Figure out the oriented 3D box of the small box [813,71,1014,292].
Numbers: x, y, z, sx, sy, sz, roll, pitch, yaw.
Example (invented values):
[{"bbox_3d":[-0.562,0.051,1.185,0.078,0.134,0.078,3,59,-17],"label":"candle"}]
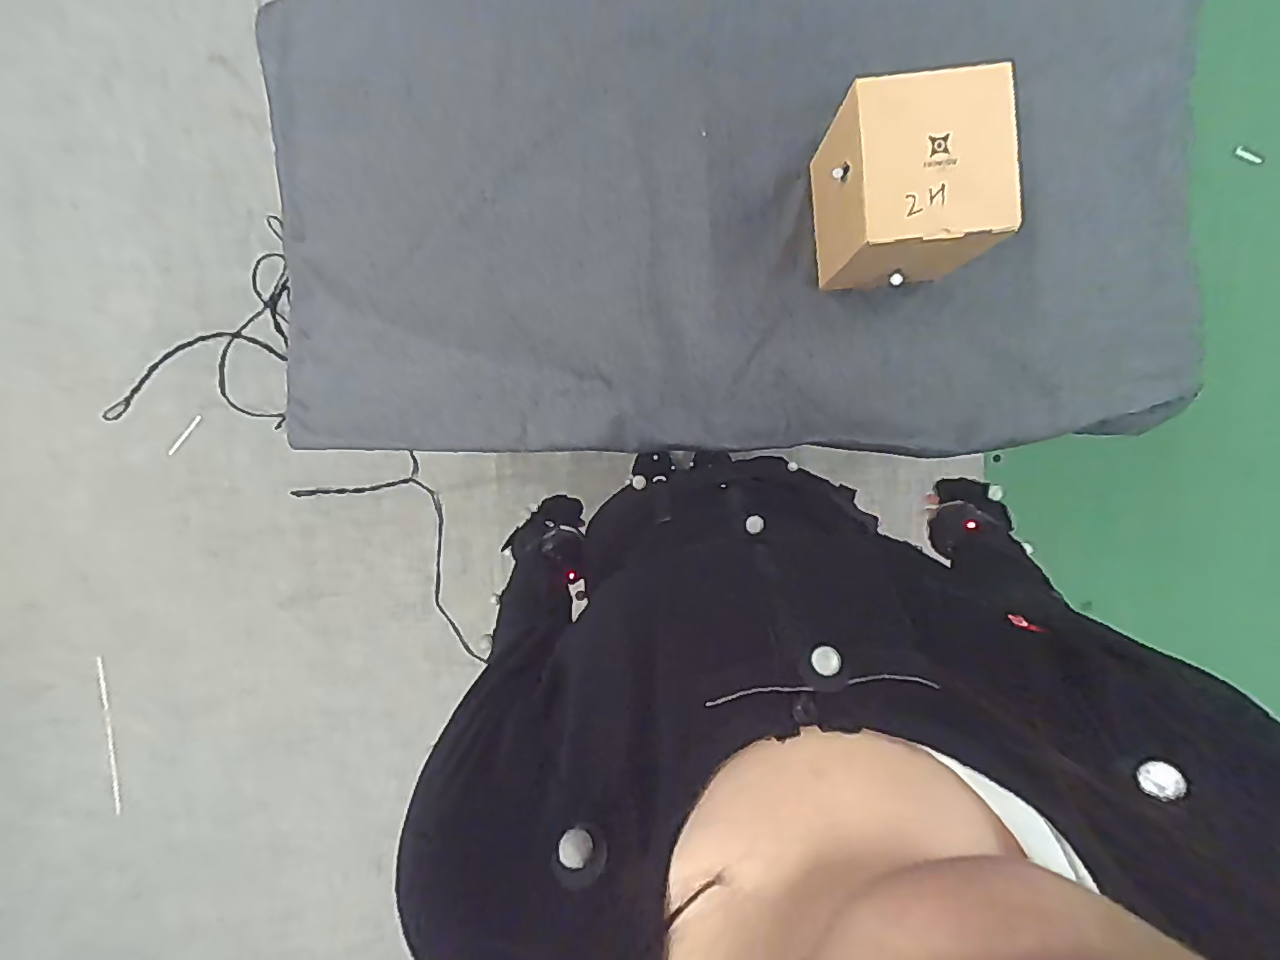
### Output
[{"bbox_3d":[0.319,-0.349,0.662,0.168,0.176,0.179,-4,93,2],"label":"small box"}]
